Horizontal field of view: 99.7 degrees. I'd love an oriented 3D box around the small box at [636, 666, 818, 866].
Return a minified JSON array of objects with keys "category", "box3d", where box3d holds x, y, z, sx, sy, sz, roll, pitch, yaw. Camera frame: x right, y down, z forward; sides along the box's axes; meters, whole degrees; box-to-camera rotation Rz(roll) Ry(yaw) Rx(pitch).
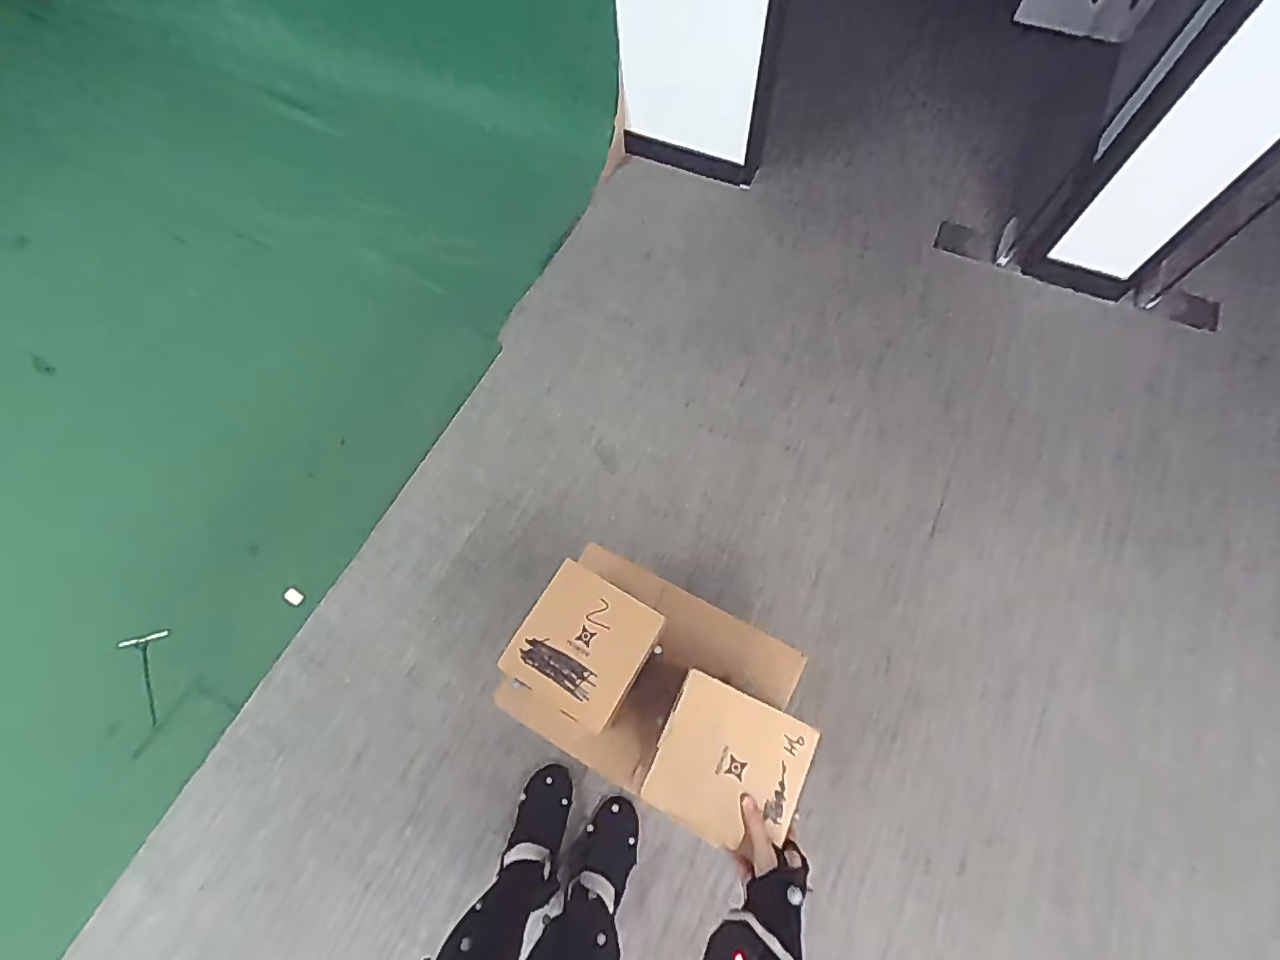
[{"category":"small box","box3d":[0.113,0.370,0.733,0.179,0.176,0.168,23,74,13]}]
